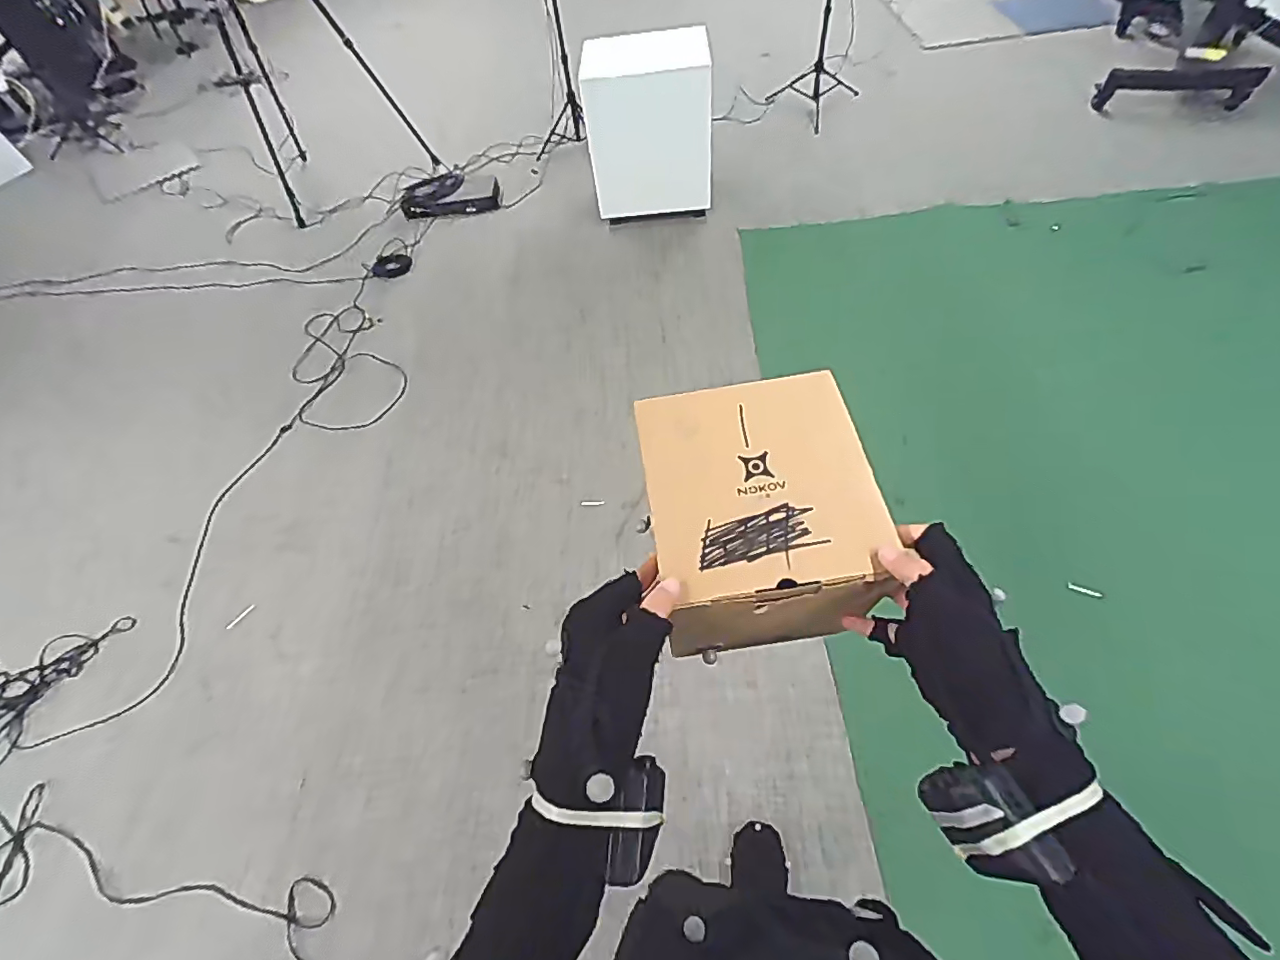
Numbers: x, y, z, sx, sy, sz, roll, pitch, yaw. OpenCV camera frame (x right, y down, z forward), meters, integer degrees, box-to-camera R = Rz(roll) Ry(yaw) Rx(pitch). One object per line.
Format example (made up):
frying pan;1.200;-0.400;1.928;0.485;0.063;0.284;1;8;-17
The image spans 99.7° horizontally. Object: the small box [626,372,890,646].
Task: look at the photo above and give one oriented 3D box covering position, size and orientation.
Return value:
small box;0.086;0.037;0.469;0.168;0.176;0.179;-9;59;1
